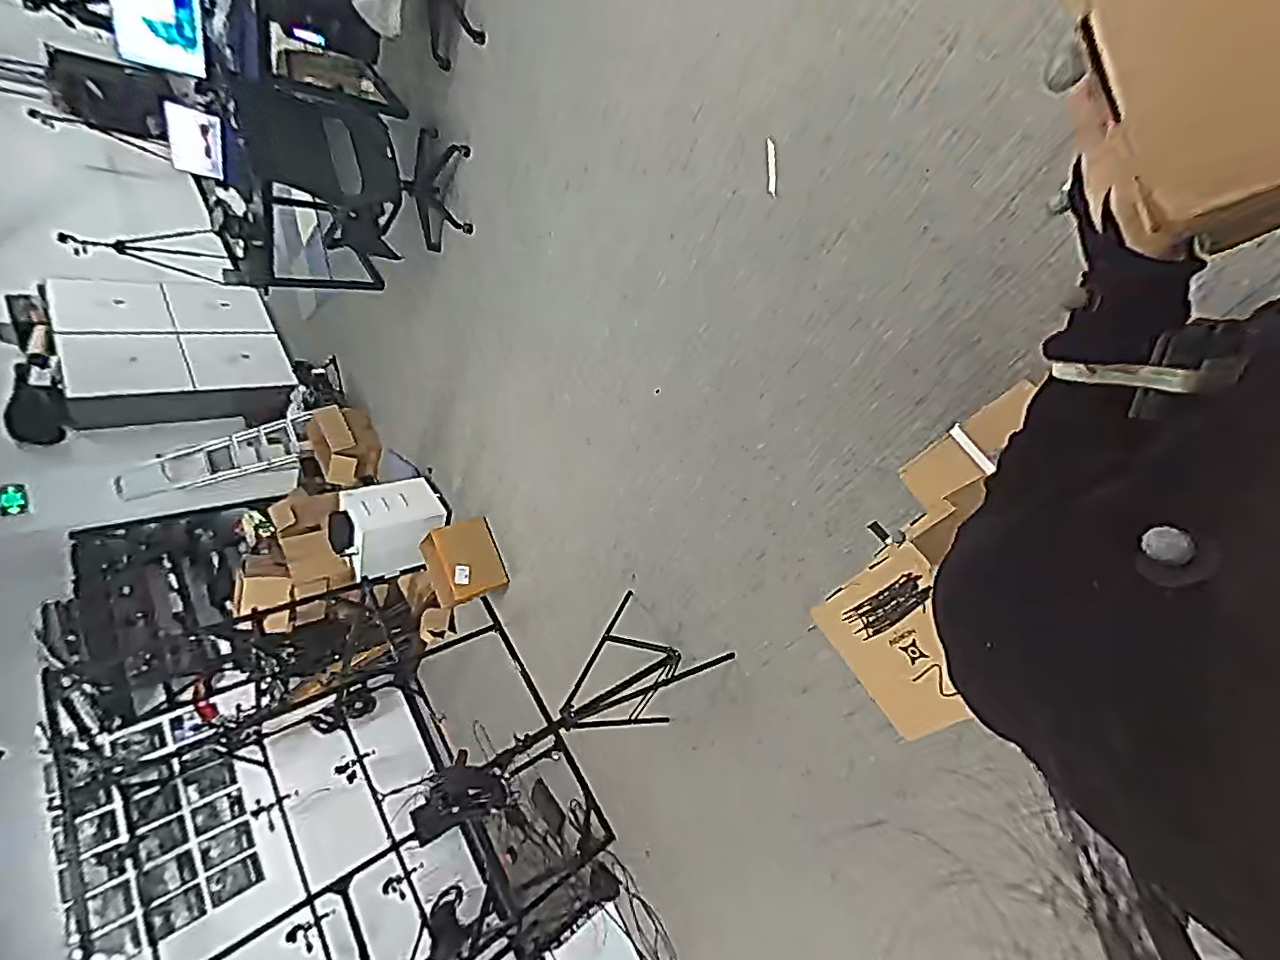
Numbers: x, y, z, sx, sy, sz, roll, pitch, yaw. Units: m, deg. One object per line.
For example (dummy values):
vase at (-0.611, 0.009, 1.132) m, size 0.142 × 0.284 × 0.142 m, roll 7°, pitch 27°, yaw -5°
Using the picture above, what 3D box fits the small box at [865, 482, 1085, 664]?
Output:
small box at (0.463, 0.118, 0.755) m, size 0.179 × 0.176 × 0.168 m, roll 53°, pitch 134°, yaw 24°

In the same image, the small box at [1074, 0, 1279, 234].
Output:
small box at (0.222, -0.183, 0.134) m, size 0.179 × 0.176 × 0.168 m, roll -16°, pitch 94°, yaw 48°
